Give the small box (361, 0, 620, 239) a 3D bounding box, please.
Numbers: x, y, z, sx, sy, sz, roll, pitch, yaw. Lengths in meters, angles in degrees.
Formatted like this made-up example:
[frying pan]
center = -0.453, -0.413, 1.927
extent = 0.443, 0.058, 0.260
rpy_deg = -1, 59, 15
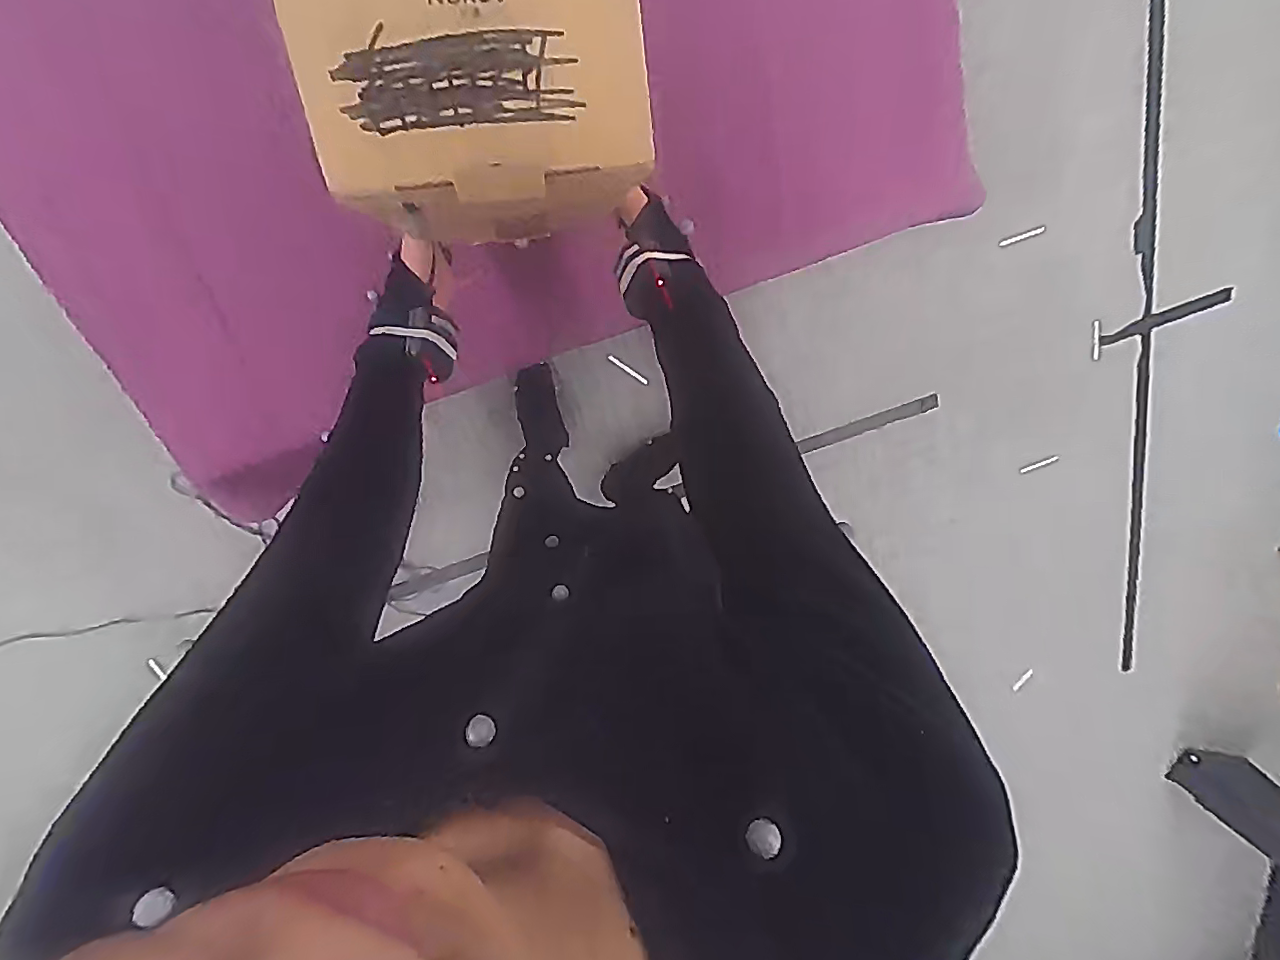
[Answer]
[small box]
center = -0.120, -0.318, 0.467
extent = 0.168, 0.176, 0.179
rpy_deg = -11, 111, -7
